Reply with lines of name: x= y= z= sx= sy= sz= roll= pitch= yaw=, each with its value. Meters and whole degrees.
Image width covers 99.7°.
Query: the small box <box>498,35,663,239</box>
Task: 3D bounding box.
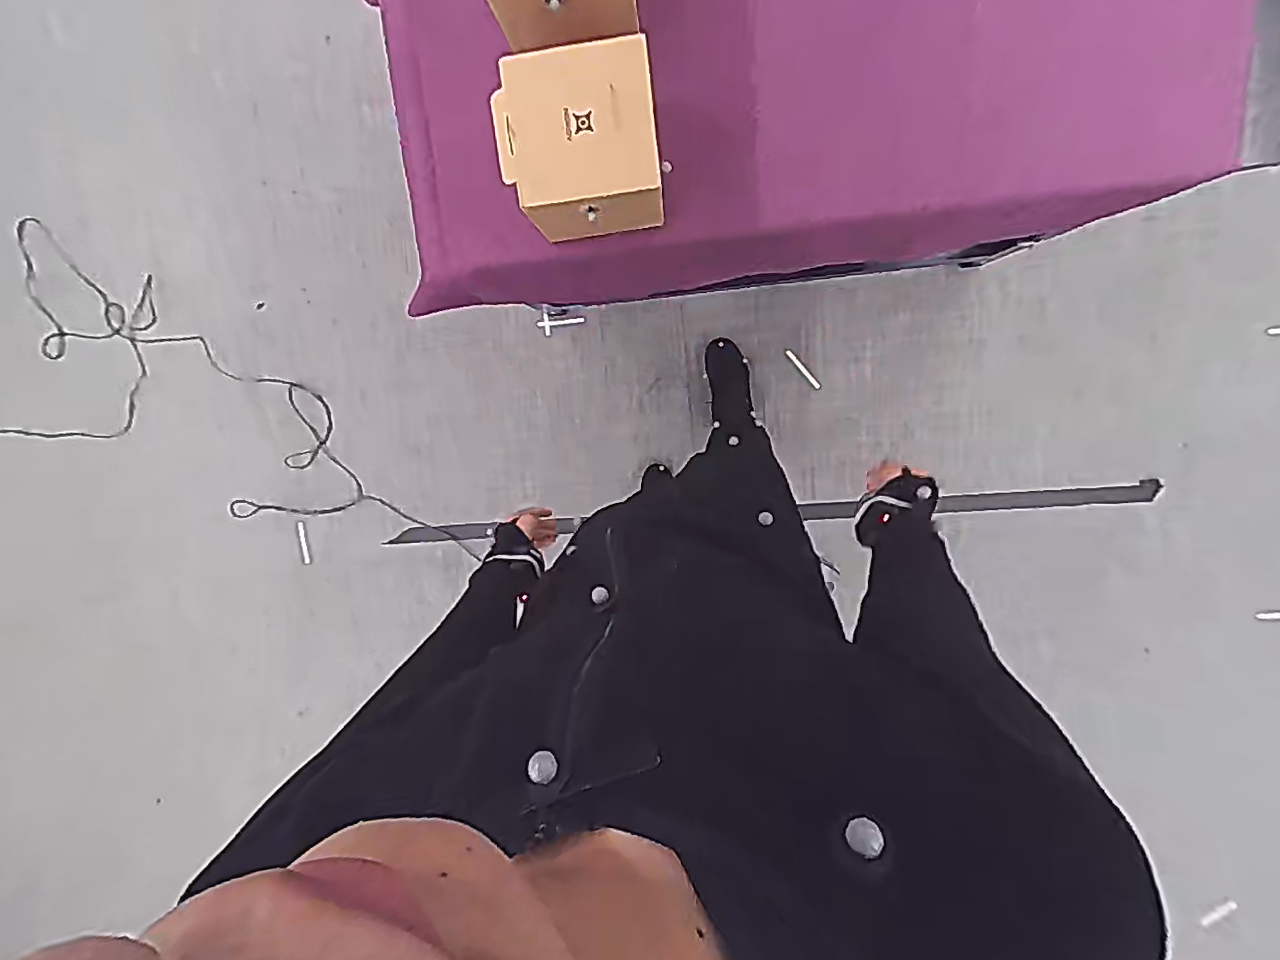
small box: x=-0.066 y=-0.430 z=0.710 sx=0.179 sy=0.176 sz=0.168 roll=-6 pitch=100 yaw=5

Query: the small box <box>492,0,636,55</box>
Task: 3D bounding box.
small box: x=-0.107 y=-0.665 z=0.669 sx=0.179 sy=0.176 sz=0.168 roll=-8 pitch=100 yaw=5
